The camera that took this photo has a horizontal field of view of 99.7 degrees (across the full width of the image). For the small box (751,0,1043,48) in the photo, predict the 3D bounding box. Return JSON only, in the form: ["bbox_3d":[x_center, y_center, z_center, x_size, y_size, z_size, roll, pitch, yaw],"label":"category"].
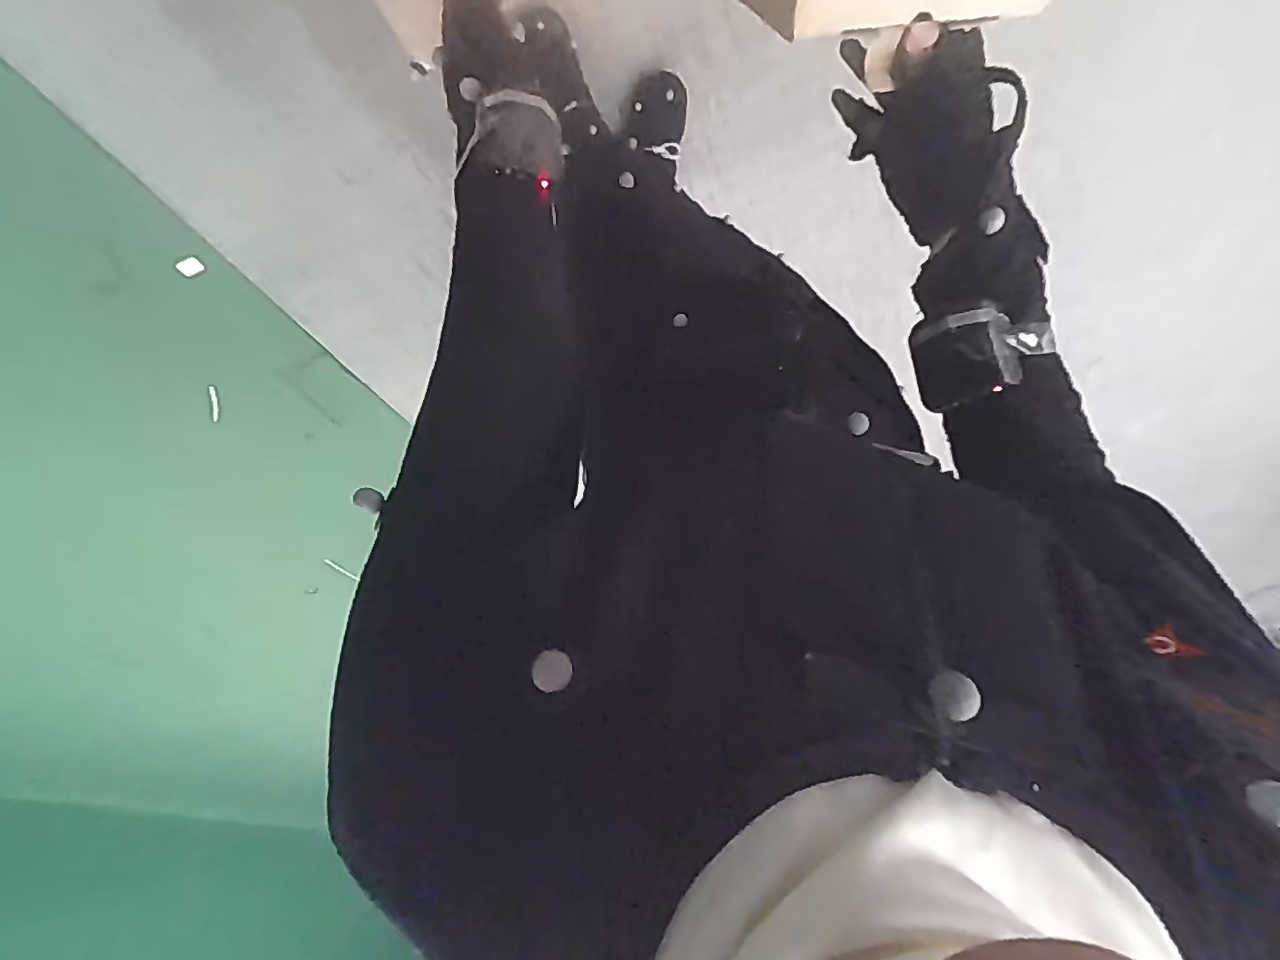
[{"bbox_3d":[0.151,-0.390,0.313,0.168,0.176,0.179,-11,144,-5],"label":"small box"}]
